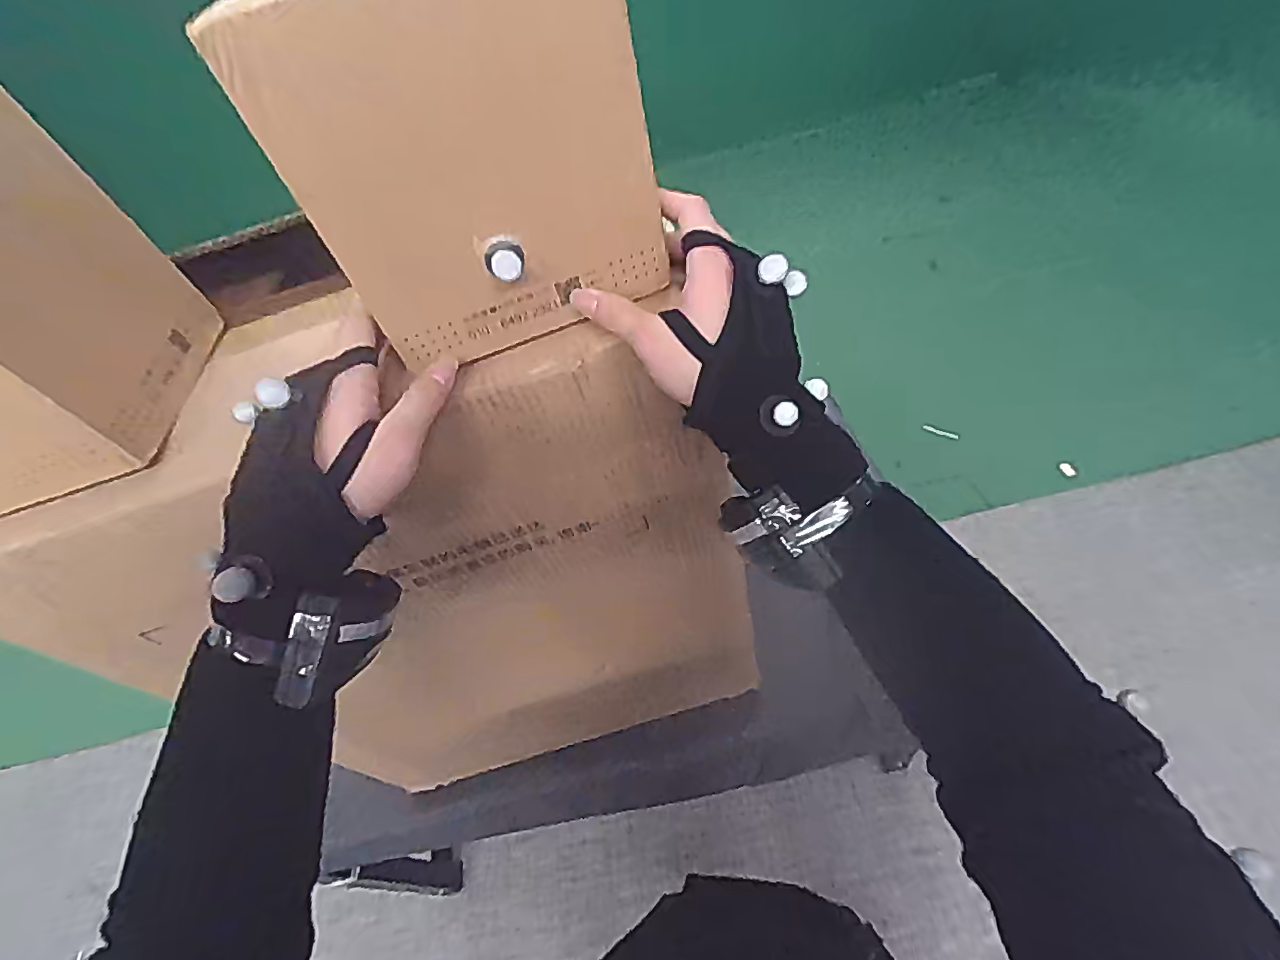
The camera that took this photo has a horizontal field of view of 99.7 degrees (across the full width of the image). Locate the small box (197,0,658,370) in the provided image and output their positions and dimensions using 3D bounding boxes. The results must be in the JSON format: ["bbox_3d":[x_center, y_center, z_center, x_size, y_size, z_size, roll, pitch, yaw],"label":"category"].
[{"bbox_3d":[-0.101,-0.197,0.323,0.168,0.176,0.179,-21,49,-3],"label":"small box"}]
